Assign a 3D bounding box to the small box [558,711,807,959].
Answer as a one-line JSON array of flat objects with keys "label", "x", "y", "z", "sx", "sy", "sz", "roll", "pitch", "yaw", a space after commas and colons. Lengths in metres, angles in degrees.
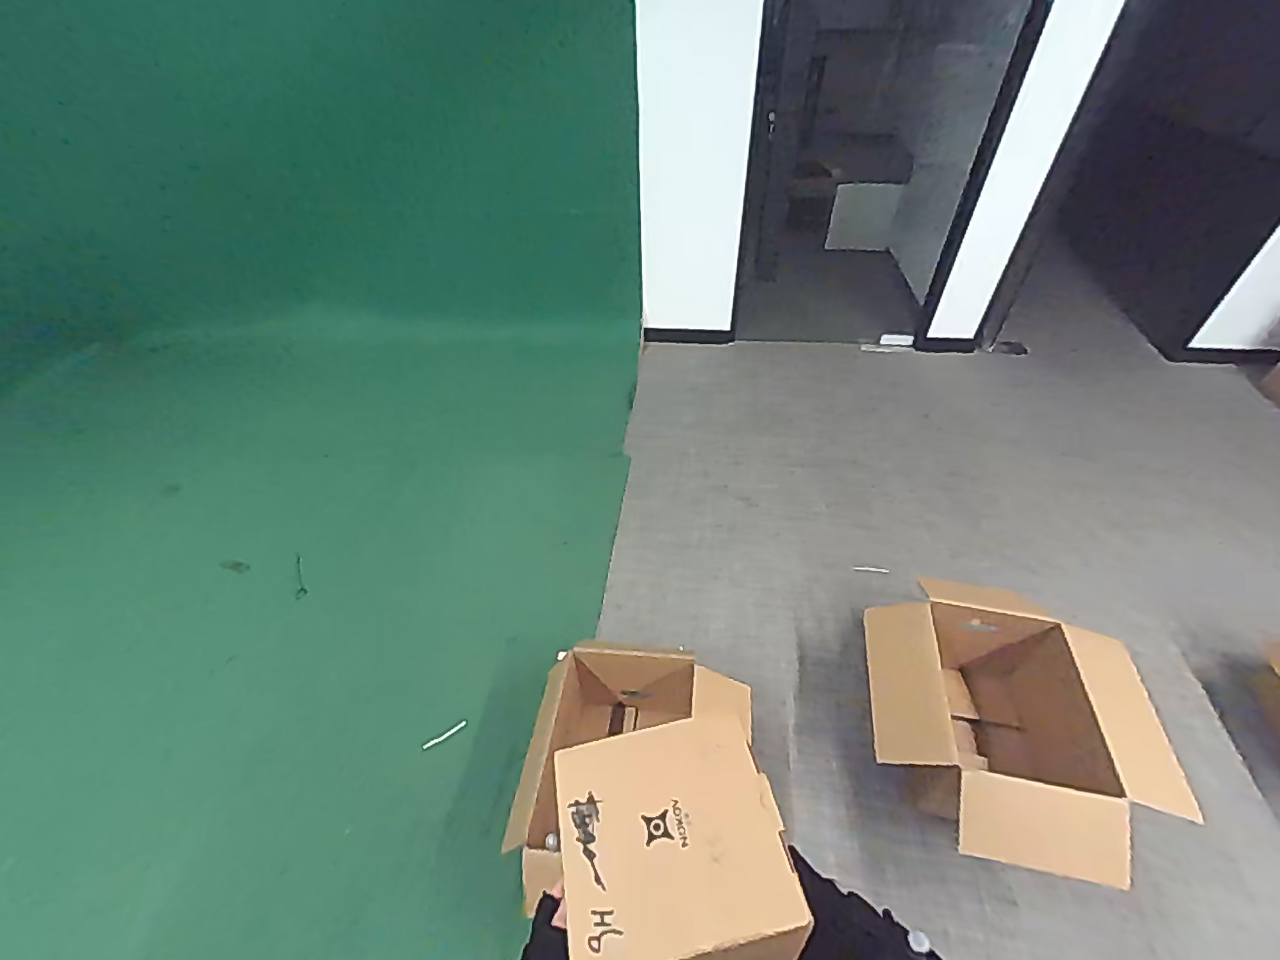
[{"label": "small box", "x": 0.027, "y": 0.343, "z": 0.492, "sx": 0.179, "sy": 0.176, "sz": 0.168, "roll": -9, "pitch": 38, "yaw": -6}]
